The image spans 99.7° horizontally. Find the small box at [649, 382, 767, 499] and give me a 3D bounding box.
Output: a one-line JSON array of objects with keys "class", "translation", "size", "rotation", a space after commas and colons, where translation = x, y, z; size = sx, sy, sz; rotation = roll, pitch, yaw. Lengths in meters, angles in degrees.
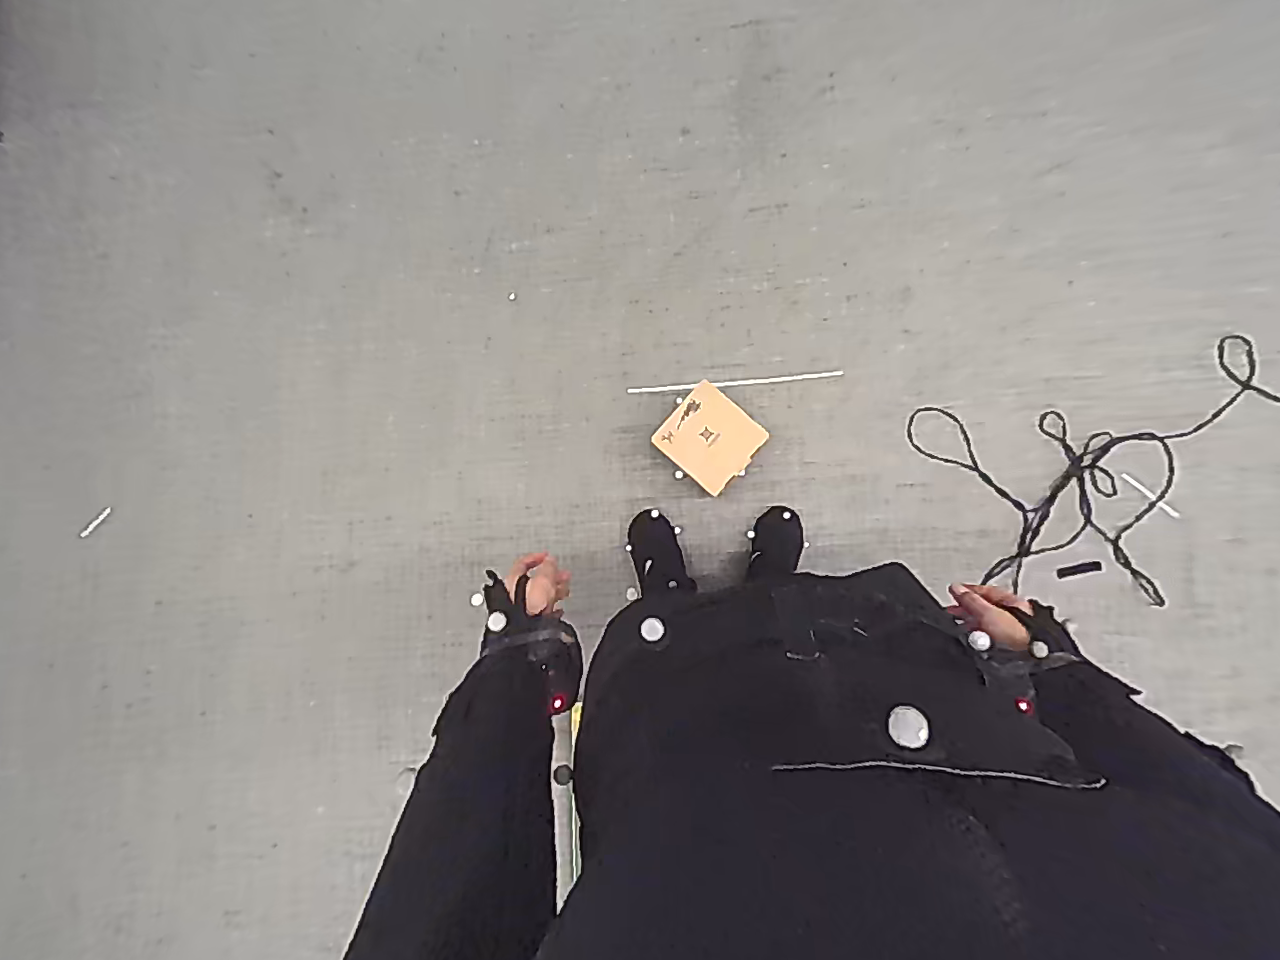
[{"class": "small box", "translation": [0.139, -0.079, 1.142], "size": [0.179, 0.176, 0.168], "rotation": [42, 92, 3]}]
